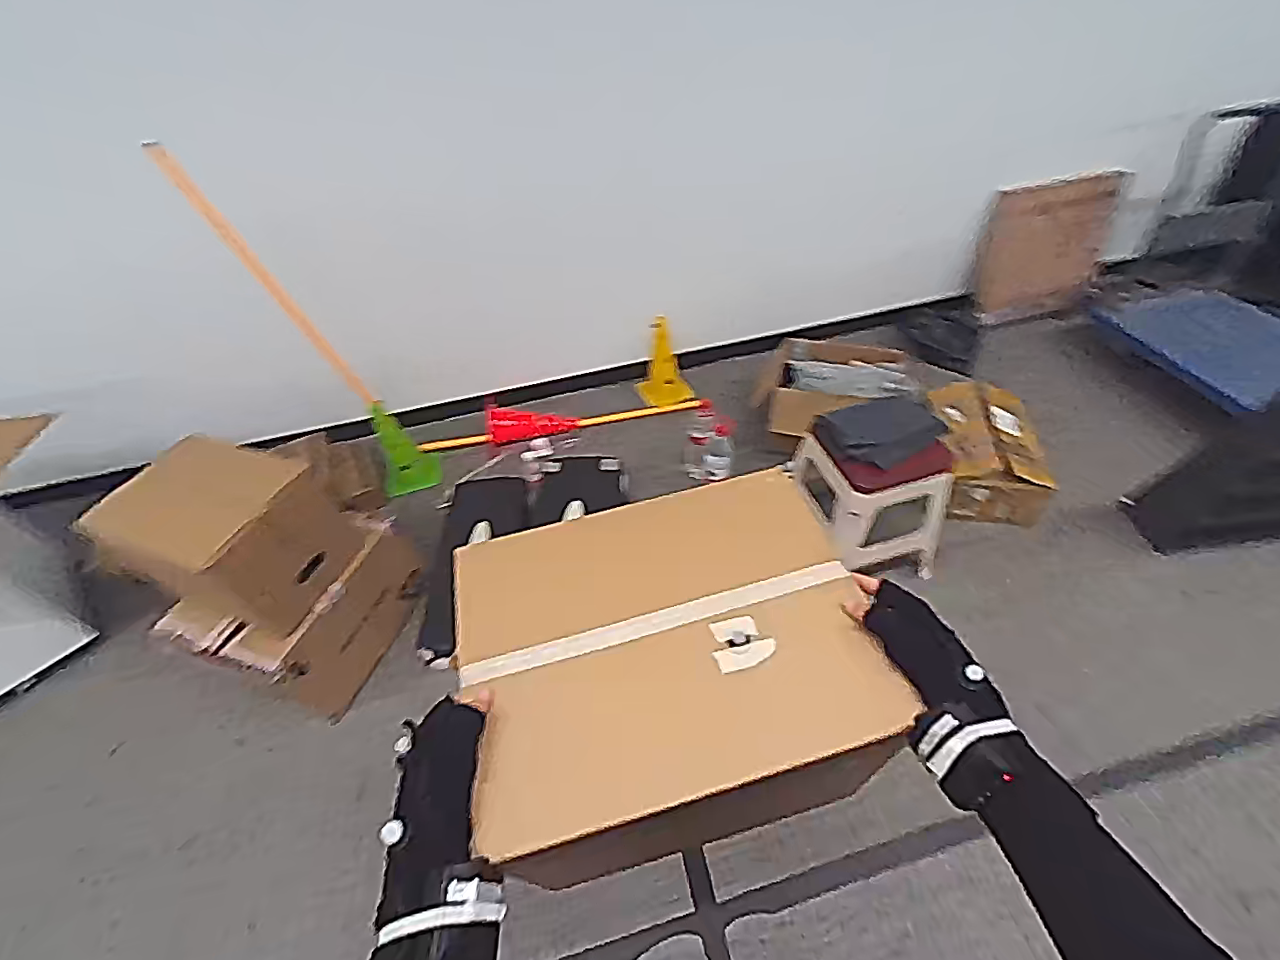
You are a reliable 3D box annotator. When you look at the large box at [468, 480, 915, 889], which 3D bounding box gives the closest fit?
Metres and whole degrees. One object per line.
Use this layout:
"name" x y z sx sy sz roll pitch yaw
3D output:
"large box" 0.036 0.255 0.678 0.408 0.320 0.320 -14 50 -7
